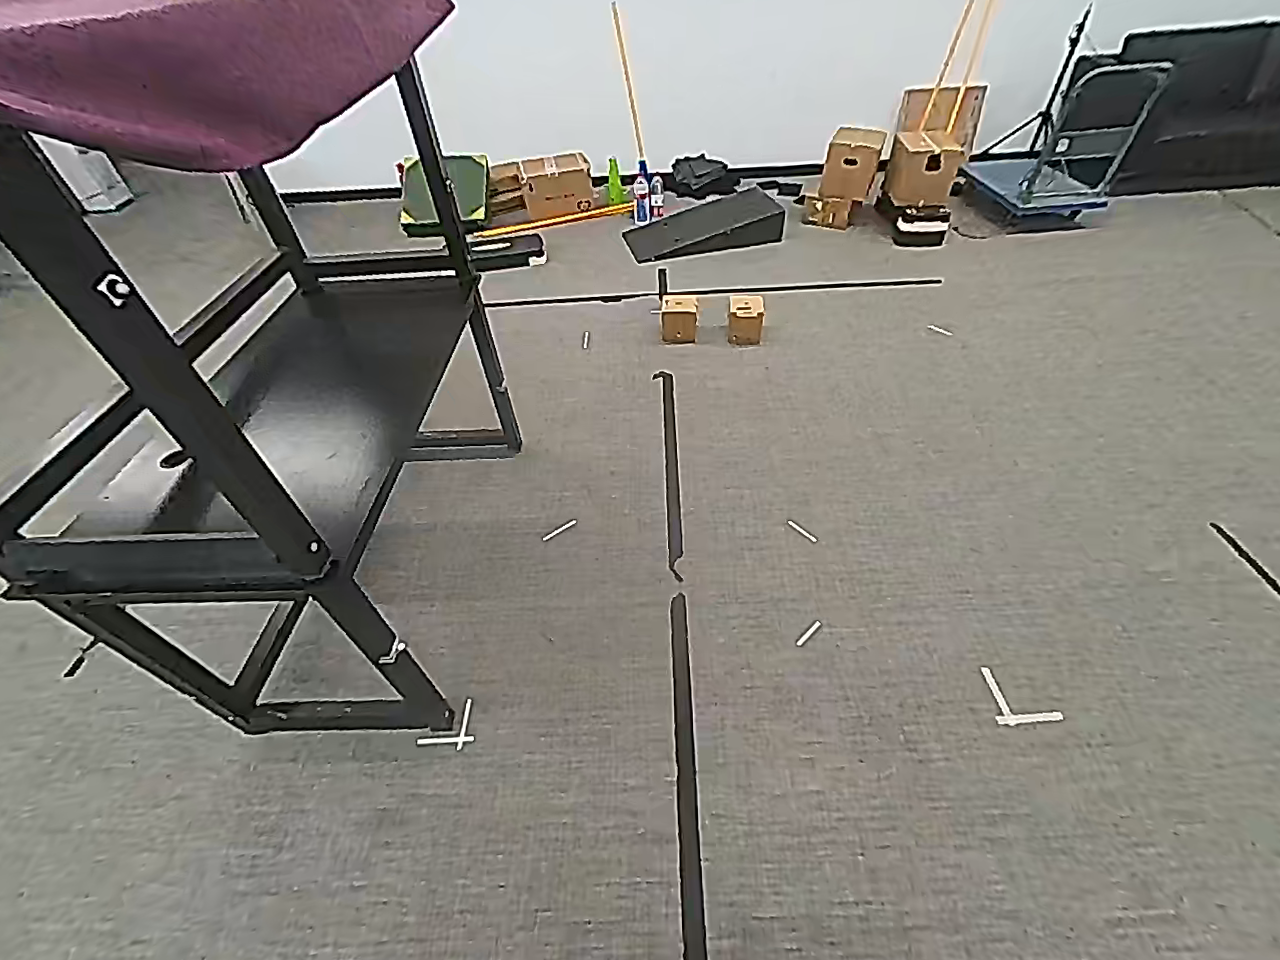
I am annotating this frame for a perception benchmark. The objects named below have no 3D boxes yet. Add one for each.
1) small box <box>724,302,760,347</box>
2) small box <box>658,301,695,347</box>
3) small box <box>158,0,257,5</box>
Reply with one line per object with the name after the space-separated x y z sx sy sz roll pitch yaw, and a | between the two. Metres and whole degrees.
0.519 -0.790 2.754 0.168 0.176 0.179 2 45 5 | small box
0.188 -0.800 2.782 0.179 0.176 0.168 2 45 5 | small box
-0.699 -0.876 0.861 0.168 0.176 0.179 0 46 5 | small box
